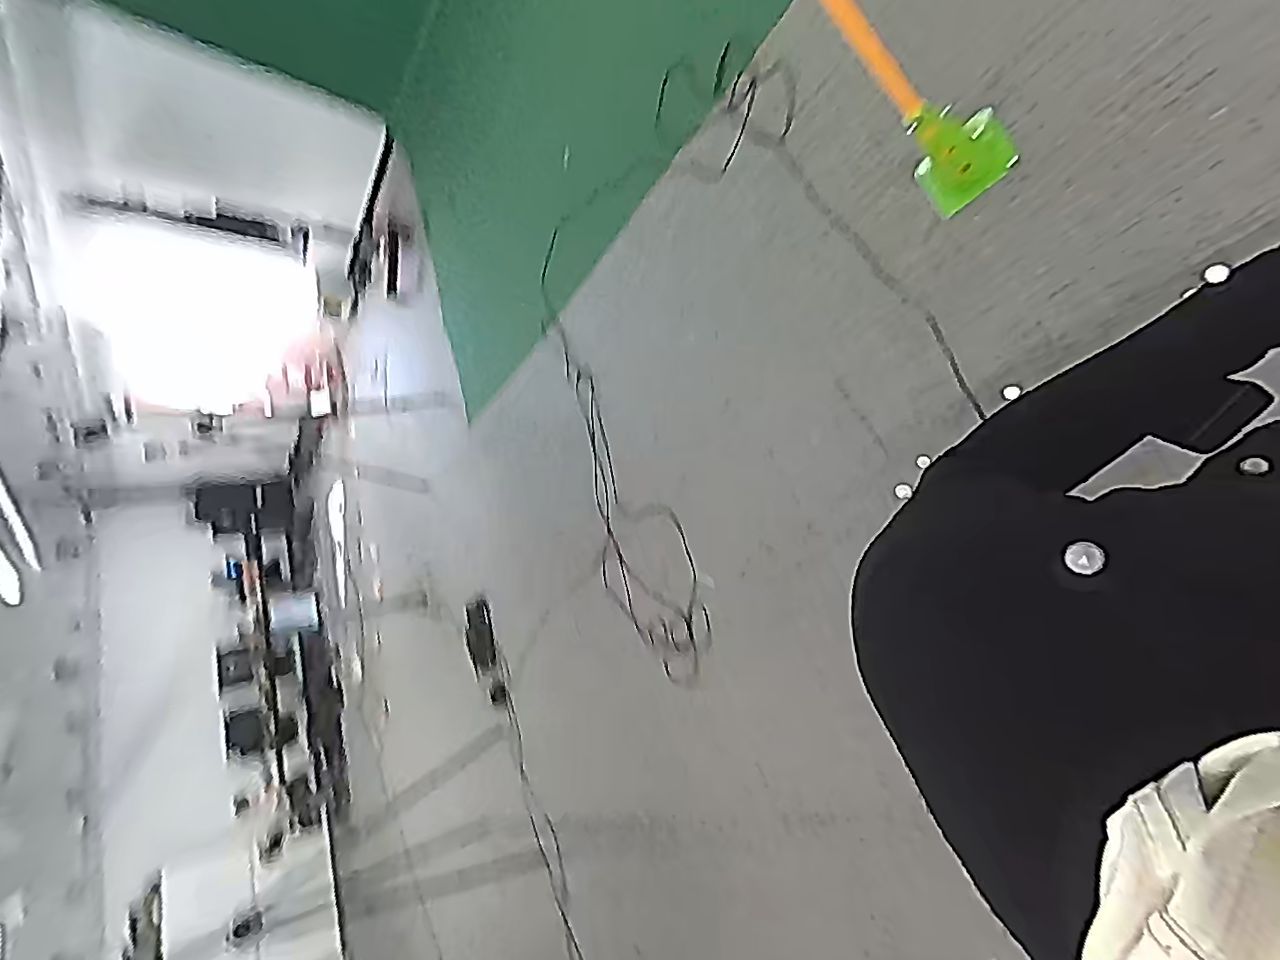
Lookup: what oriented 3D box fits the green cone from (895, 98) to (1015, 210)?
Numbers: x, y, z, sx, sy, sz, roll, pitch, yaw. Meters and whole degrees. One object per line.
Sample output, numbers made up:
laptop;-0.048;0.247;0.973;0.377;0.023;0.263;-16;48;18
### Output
green cone;0.741;-0.865;1.351;0.202;0.368;0.200;-35;65;44
